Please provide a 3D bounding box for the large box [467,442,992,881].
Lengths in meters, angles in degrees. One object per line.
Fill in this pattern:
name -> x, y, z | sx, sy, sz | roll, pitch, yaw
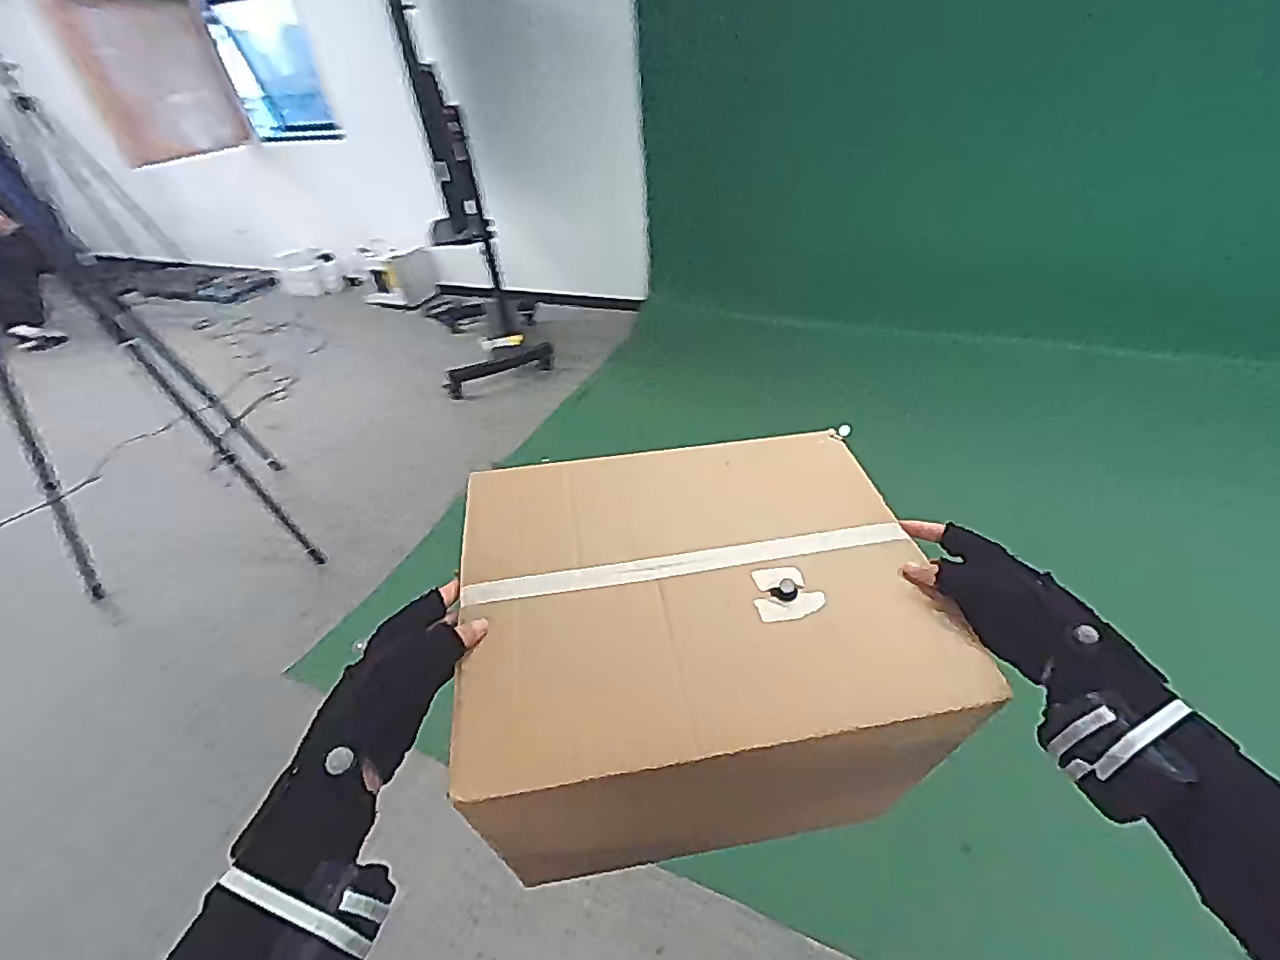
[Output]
large box -> 0.050, 0.189, 0.595 | 0.408, 0.320, 0.320 | -6, 44, -7
